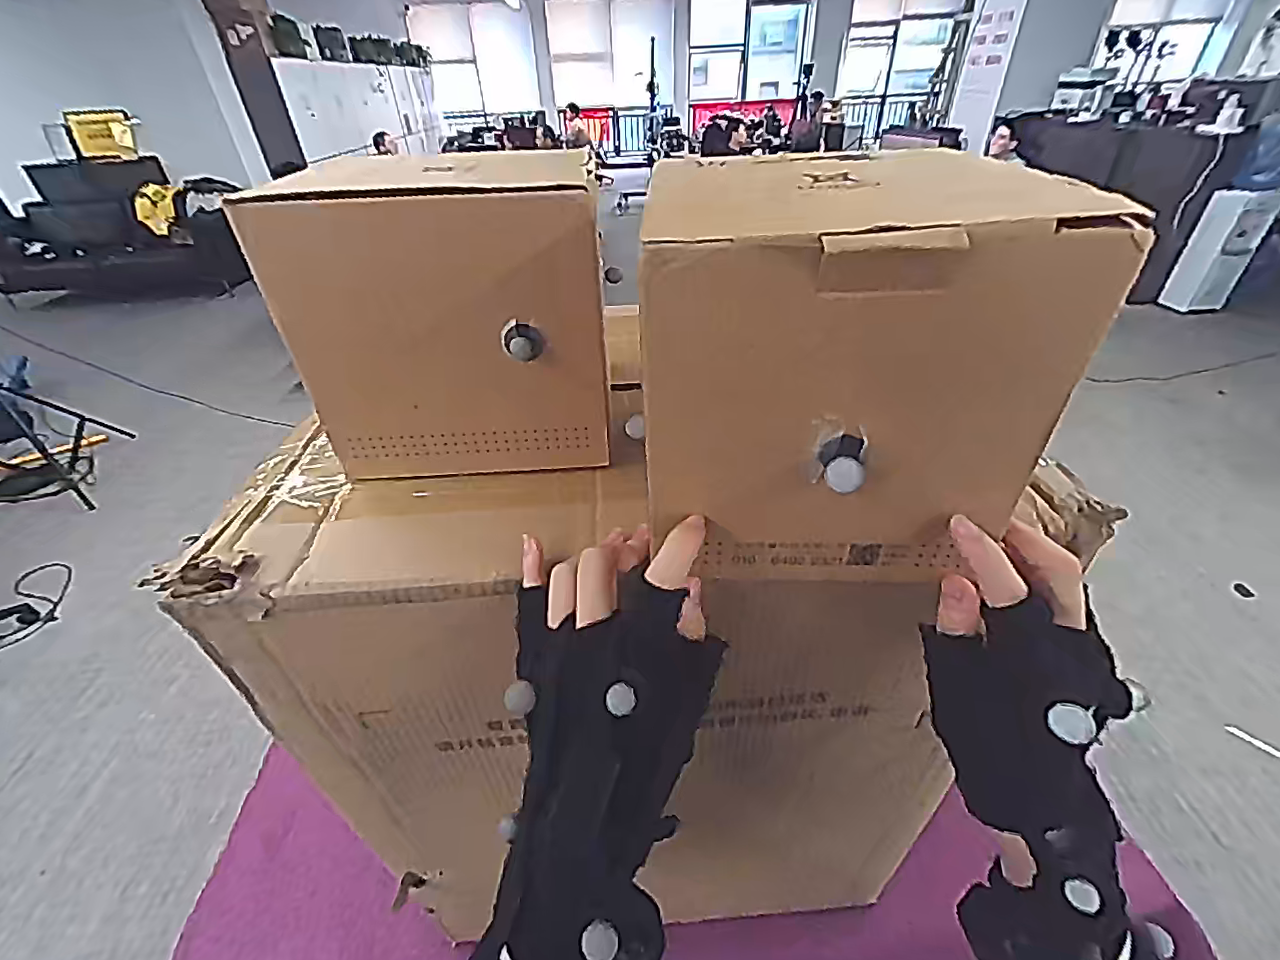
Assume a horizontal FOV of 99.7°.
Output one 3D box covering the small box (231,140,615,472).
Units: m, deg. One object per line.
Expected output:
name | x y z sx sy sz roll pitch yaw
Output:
small box | -0.108 -0.121 0.366 0.179 0.176 0.168 -4 36 -1

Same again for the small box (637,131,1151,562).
small box | 0.091 -0.072 0.289 0.168 0.176 0.179 0 38 5
